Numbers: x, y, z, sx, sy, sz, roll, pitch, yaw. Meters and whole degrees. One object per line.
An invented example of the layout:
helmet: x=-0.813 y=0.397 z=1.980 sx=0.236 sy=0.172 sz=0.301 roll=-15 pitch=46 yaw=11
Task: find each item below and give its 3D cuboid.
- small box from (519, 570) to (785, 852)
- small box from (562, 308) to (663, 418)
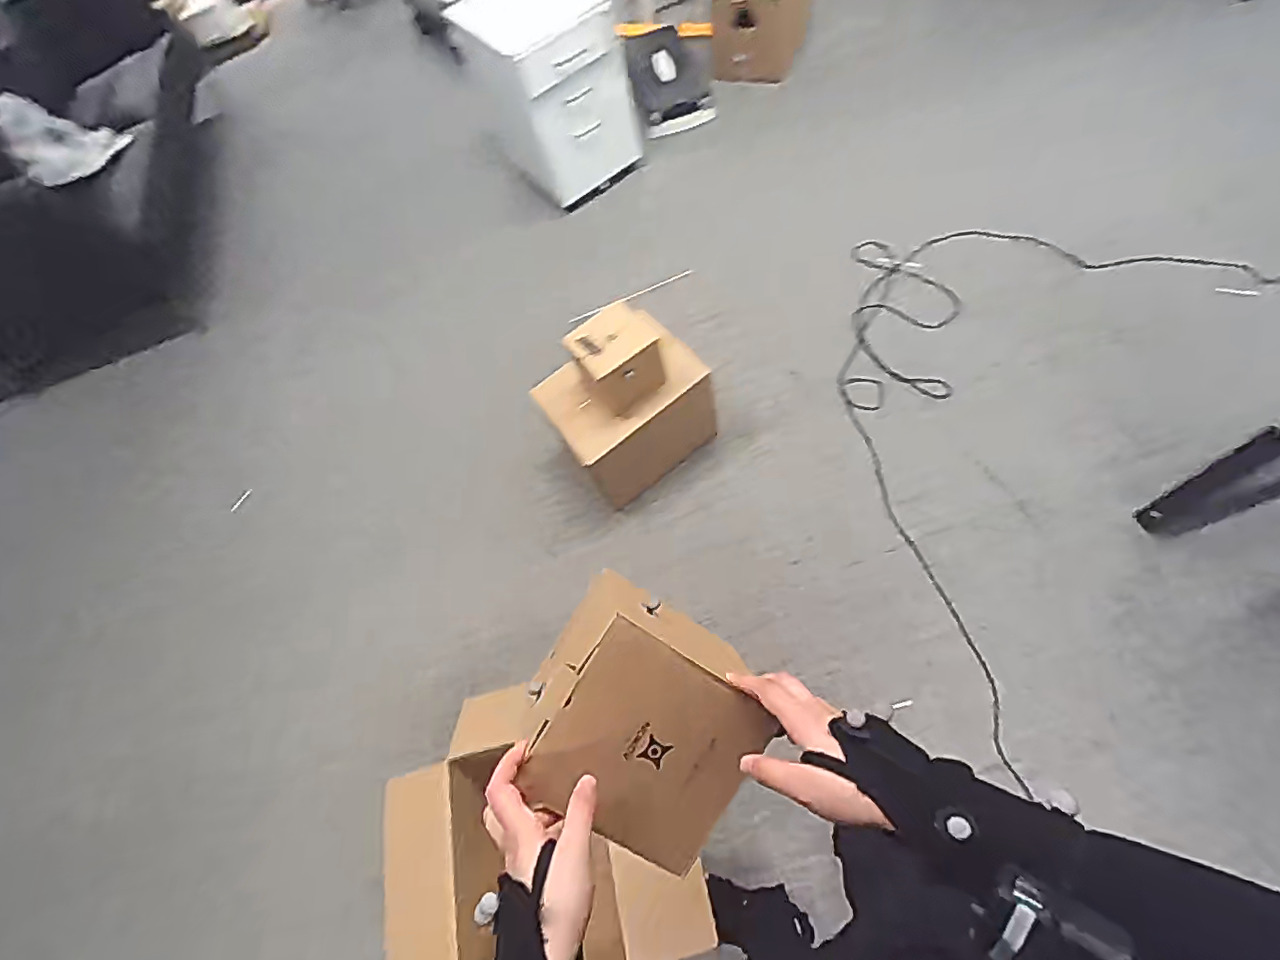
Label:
small box: x=0.004 y=0.206 z=0.539 sx=0.179 sy=0.176 sz=0.168 roll=33 pitch=90 yaw=-7
small box: x=-0.062 y=-0.289 z=1.365 sx=0.179 sy=0.176 sz=0.168 roll=-38 pitch=63 yaw=-7
